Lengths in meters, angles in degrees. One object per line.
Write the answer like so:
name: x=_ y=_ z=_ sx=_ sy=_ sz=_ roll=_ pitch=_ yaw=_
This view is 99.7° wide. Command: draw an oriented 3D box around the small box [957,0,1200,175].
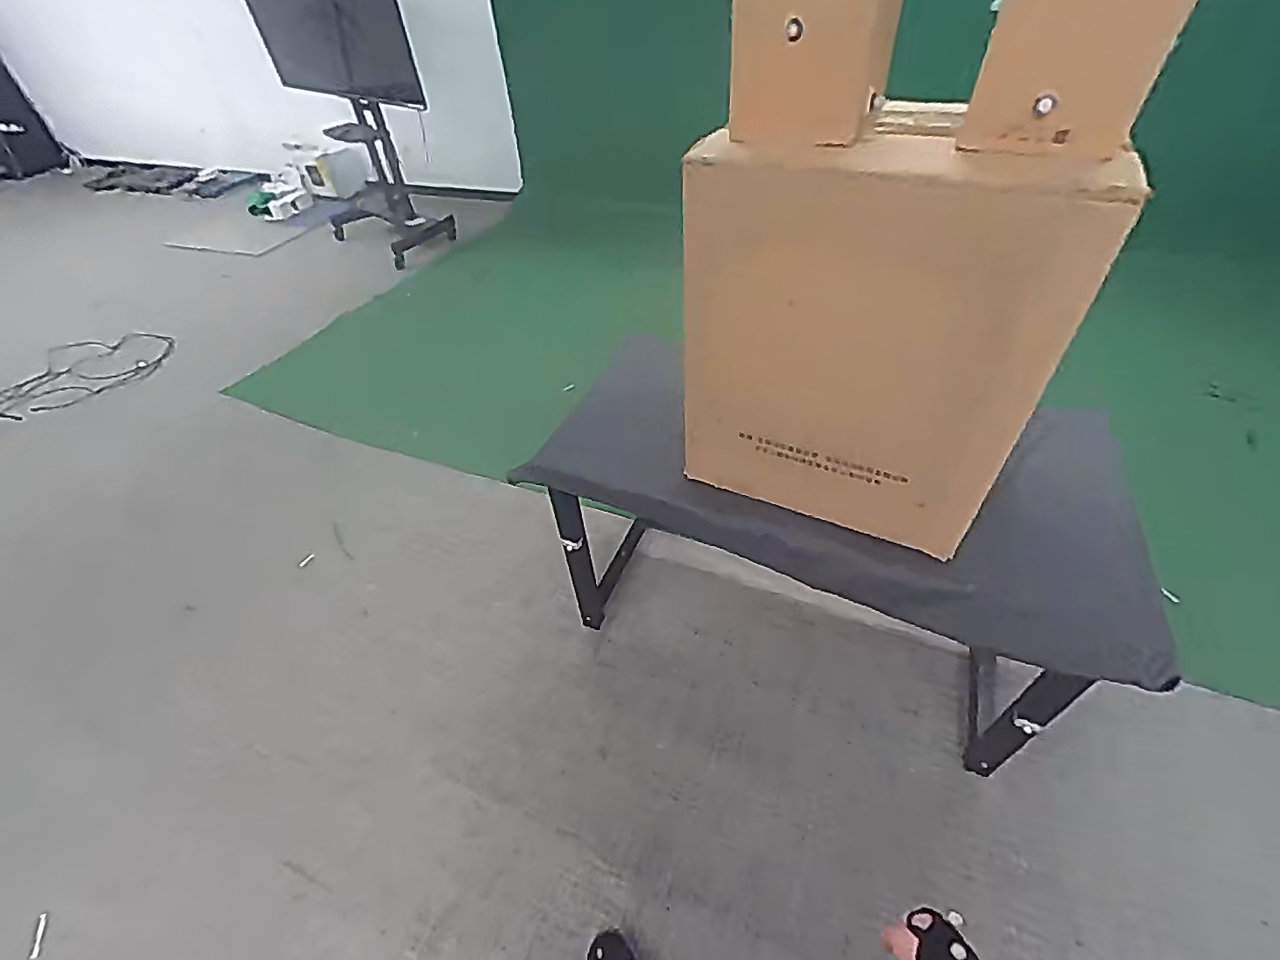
small box: x=0.498 y=-0.485 z=0.636 sx=0.168 sy=0.176 sz=0.179 roll=19 pitch=51 yaw=21

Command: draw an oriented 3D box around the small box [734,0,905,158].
small box: x=0.237 y=-0.556 z=0.734 sx=0.179 sy=0.176 sz=0.168 roll=19 pitch=52 yaw=21
